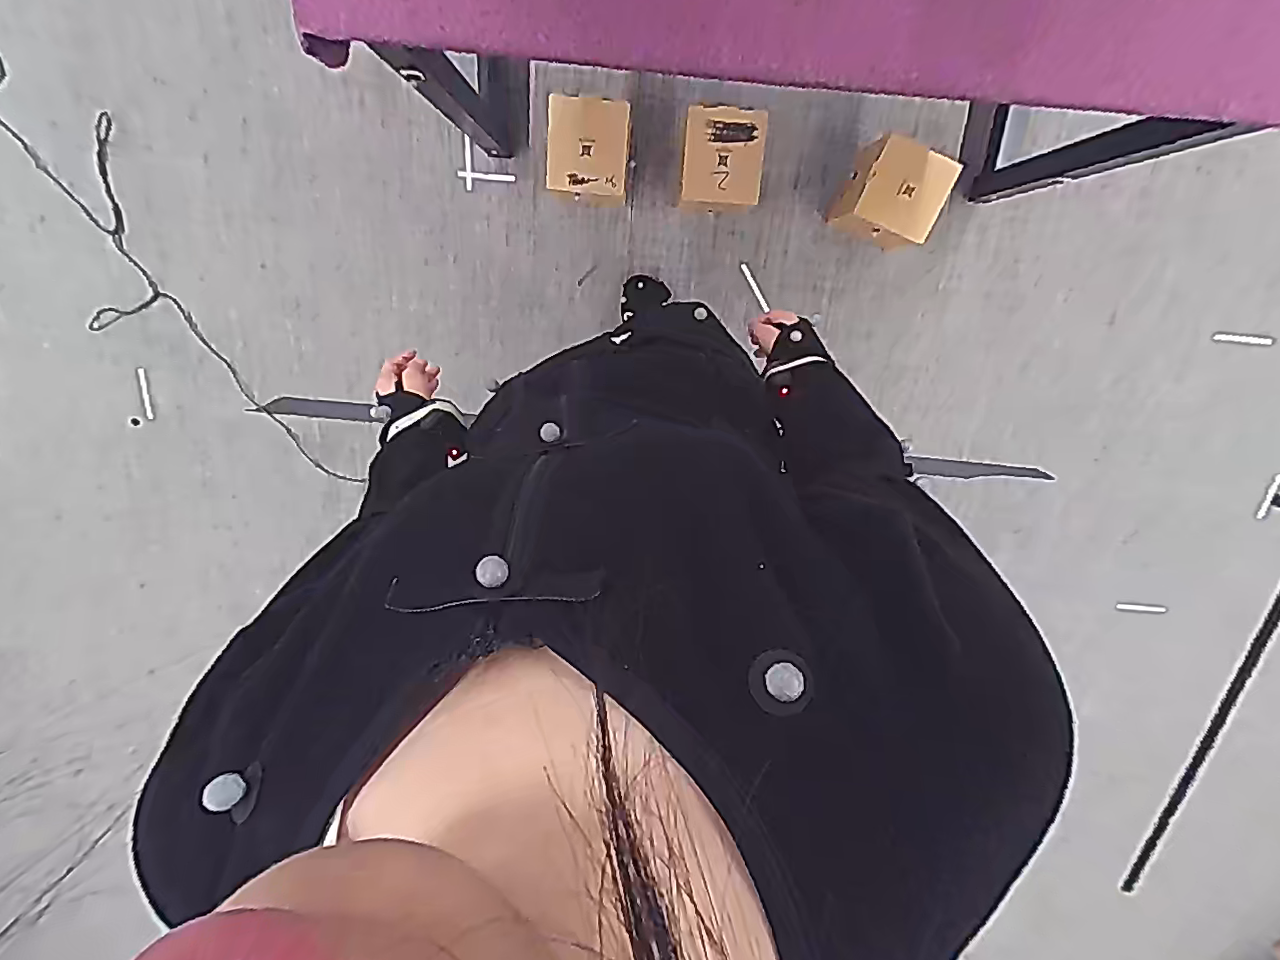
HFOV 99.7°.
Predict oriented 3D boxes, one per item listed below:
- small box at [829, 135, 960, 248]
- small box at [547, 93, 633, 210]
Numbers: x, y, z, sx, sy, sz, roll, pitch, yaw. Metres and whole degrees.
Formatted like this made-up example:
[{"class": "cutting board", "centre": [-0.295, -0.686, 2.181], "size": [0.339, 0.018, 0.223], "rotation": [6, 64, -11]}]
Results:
[{"class": "small box", "centre": [0.562, -0.637, 1.218], "size": [0.179, 0.176, 0.168], "rotation": [21, 108, -6]}, {"class": "small box", "centre": [-0.107, -0.712, 1.190], "size": [0.168, 0.176, 0.179], "rotation": [6, 108, -2]}]
